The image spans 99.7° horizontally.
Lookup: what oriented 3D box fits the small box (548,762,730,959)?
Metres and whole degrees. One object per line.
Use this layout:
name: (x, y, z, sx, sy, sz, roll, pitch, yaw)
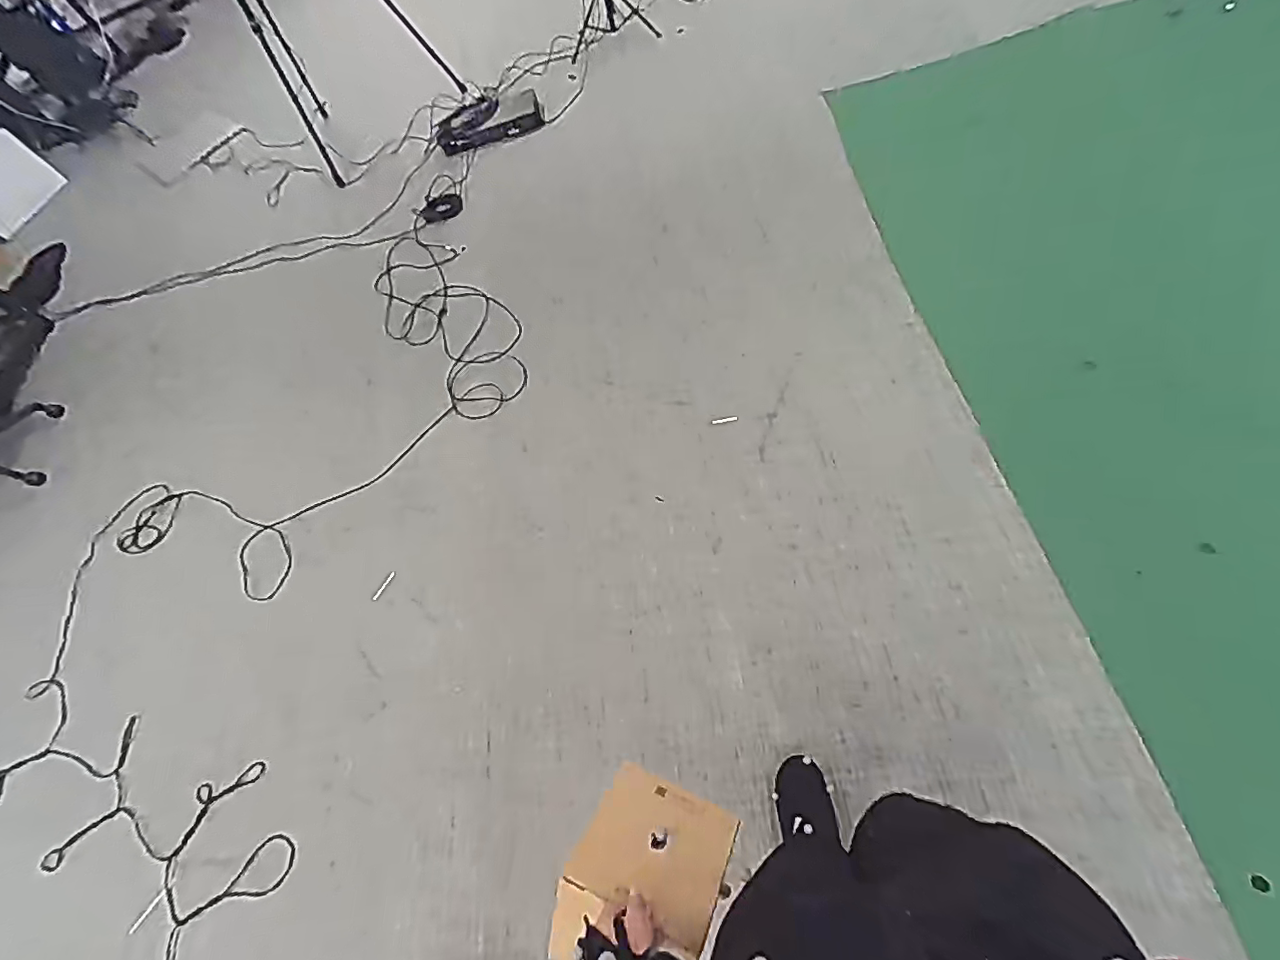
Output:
small box: (0.004, 0.502, 0.682, 0.168, 0.179, 0.176, 18, 27, 17)
